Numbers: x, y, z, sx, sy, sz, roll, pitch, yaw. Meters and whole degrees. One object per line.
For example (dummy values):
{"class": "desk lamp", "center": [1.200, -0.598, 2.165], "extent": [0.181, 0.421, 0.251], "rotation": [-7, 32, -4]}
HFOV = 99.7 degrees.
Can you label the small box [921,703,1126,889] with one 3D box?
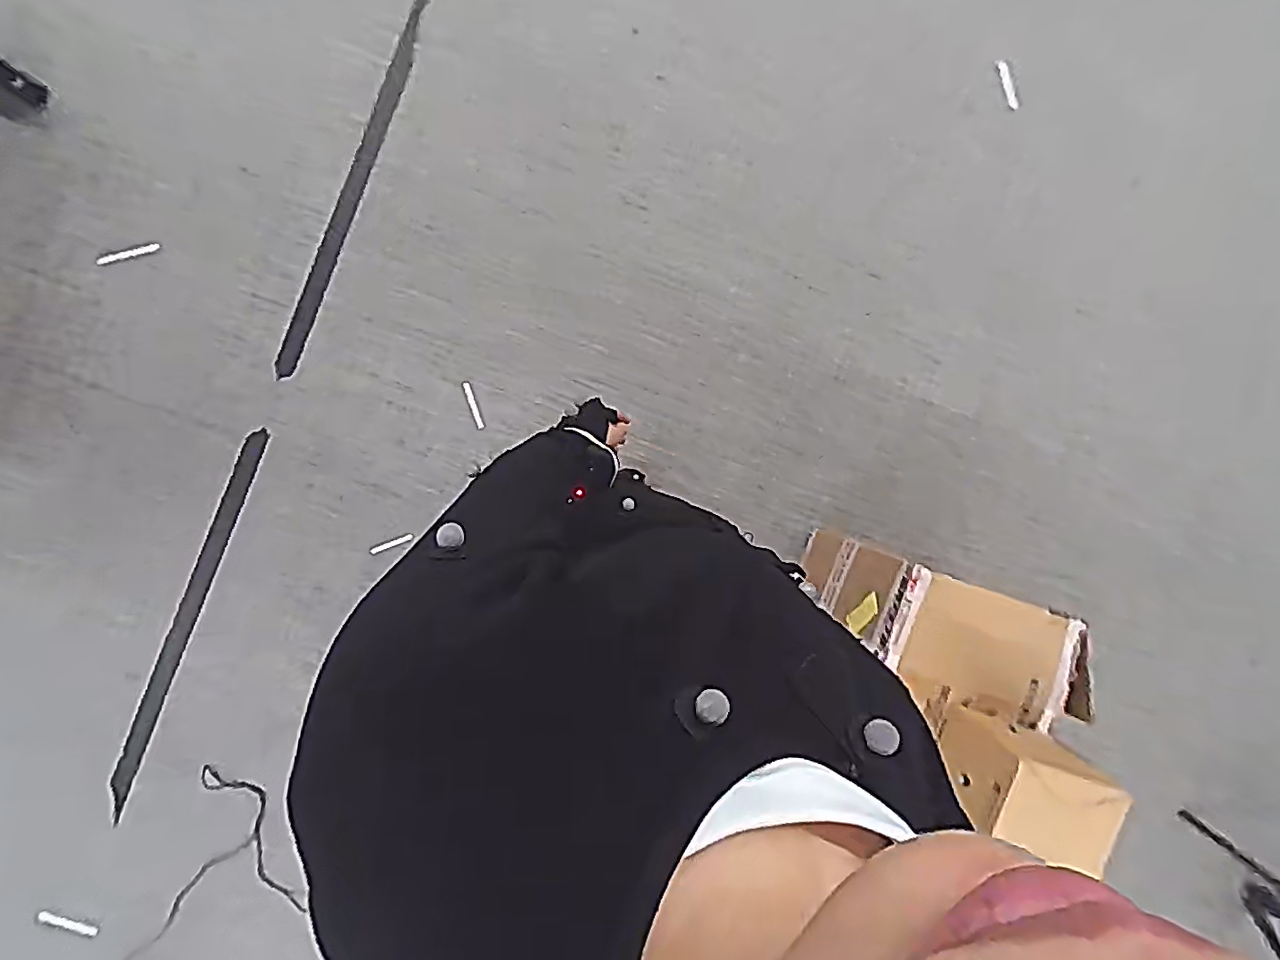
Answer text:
{"class": "small box", "center": [0.591, 0.488, 0.851], "extent": [0.179, 0.176, 0.168], "rotation": [19, 94, -2]}
